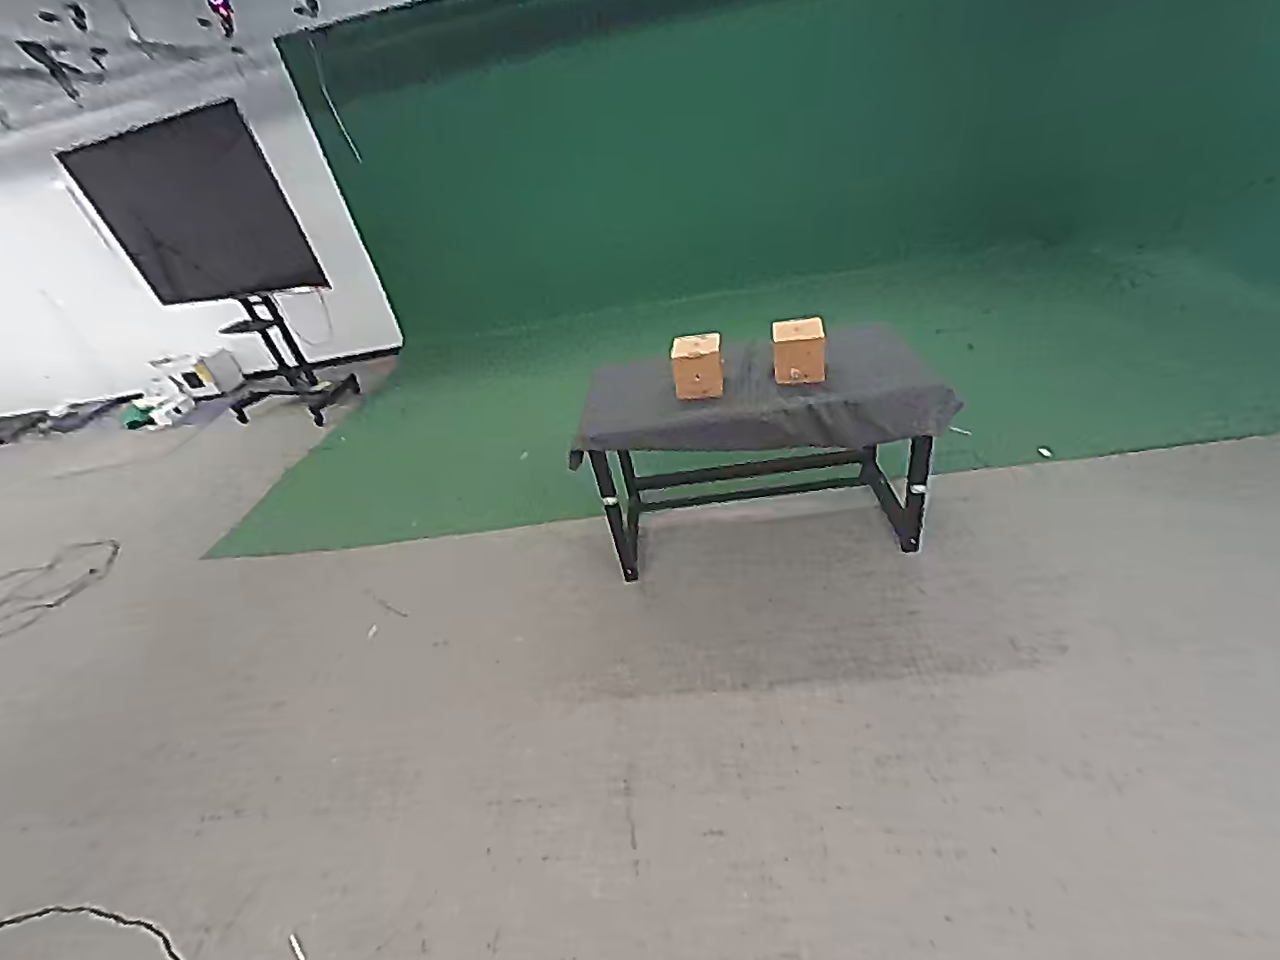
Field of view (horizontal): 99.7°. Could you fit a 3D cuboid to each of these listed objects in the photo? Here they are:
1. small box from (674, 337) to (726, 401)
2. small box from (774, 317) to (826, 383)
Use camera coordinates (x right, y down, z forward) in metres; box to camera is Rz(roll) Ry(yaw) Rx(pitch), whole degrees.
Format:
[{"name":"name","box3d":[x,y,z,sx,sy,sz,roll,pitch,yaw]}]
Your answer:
[{"name":"small box","box3d":[0.222,-0.398,1.971,0.168,0.176,0.179,-6,34,12]},{"name":"small box","box3d":[0.566,-0.459,1.910,0.168,0.176,0.179,-3,35,18]}]
